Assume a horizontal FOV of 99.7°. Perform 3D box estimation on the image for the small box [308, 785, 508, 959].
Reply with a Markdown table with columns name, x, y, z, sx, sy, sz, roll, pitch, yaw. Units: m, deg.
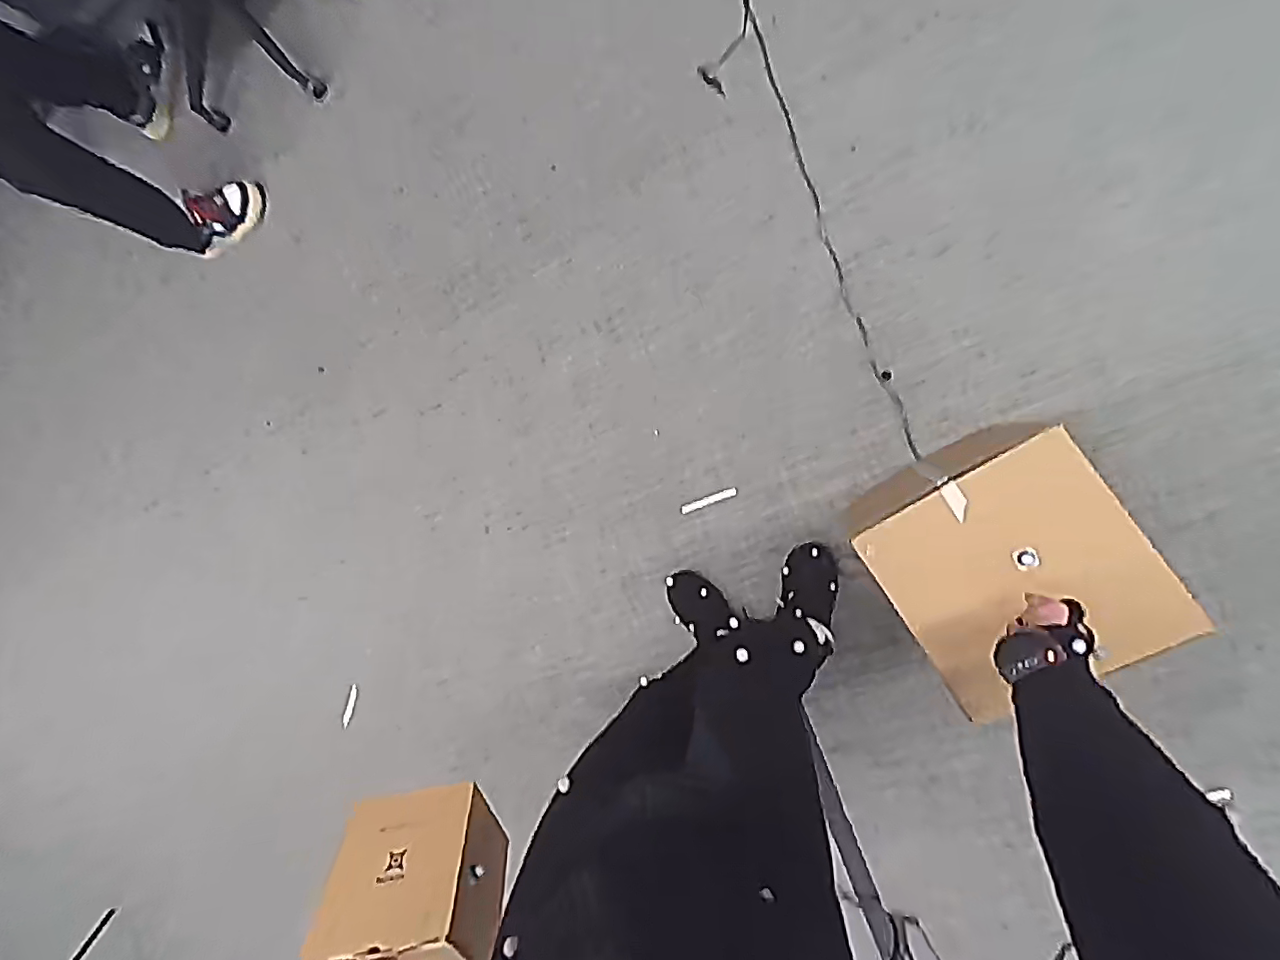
| name | x | y | z | sx | sy | sz | roll | pitch | yaw |
| --- | --- | --- | --- | --- | --- | --- | --- | --- | --- |
| small box | -0.279 | 0.535 | 0.699 | 0.168 | 0.179 | 0.176 | -10 | 122 | 0 |
